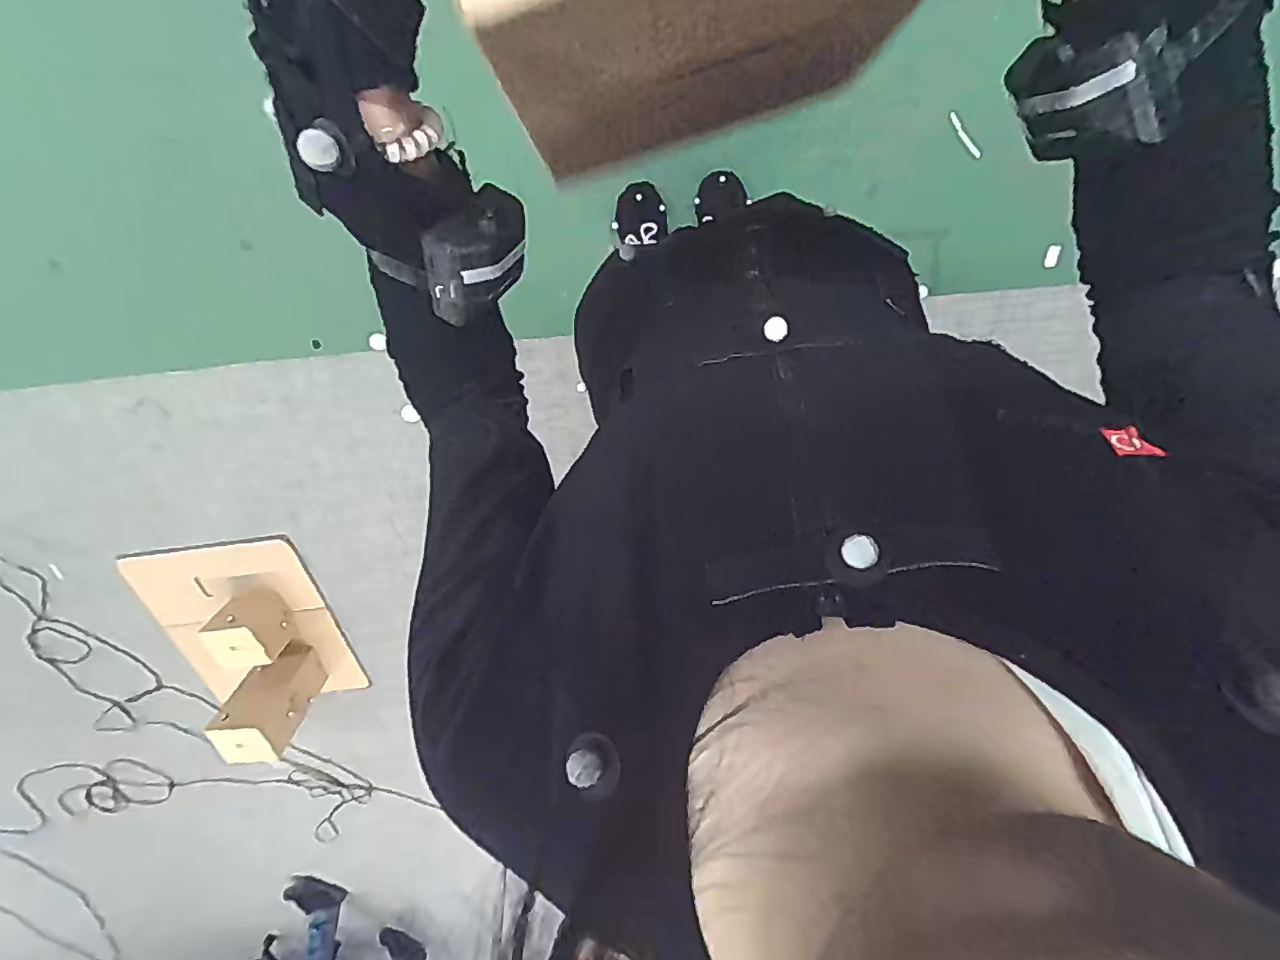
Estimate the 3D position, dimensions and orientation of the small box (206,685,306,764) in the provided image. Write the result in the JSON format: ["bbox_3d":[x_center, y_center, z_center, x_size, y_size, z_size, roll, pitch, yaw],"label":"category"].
[{"bbox_3d":[-1.239,0.792,1.759,0.179,0.176,0.168,-5,120,3],"label":"small box"}]

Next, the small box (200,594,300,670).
[{"bbox_3d":[-1.282,0.499,1.789,0.179,0.176,0.168,-9,118,4],"label":"small box"}]
